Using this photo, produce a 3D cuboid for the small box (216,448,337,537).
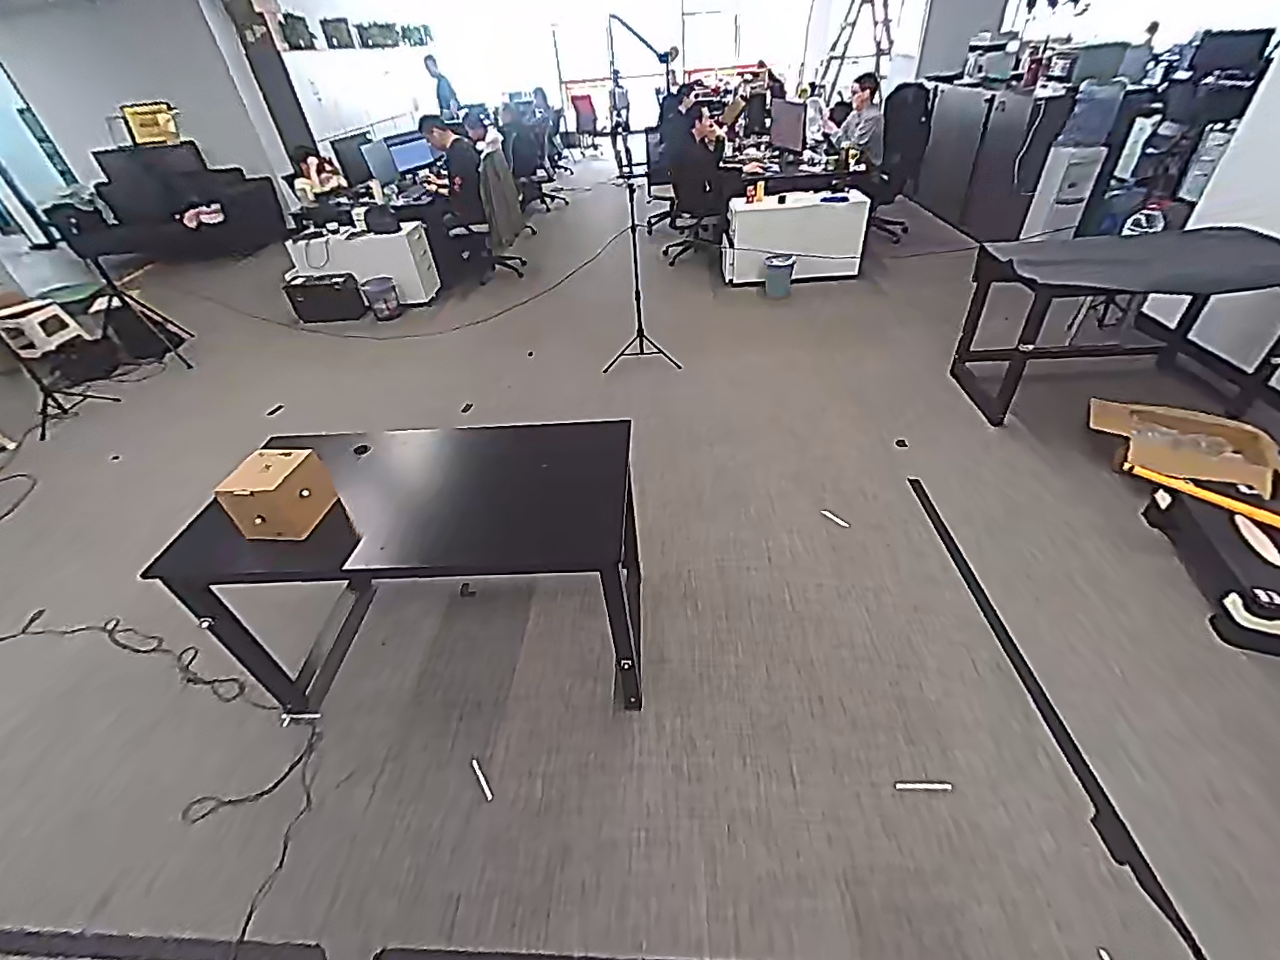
[{"bbox_3d":[-0.939,0.033,1.419,0.168,0.176,0.179,0,40,7],"label":"small box"}]
